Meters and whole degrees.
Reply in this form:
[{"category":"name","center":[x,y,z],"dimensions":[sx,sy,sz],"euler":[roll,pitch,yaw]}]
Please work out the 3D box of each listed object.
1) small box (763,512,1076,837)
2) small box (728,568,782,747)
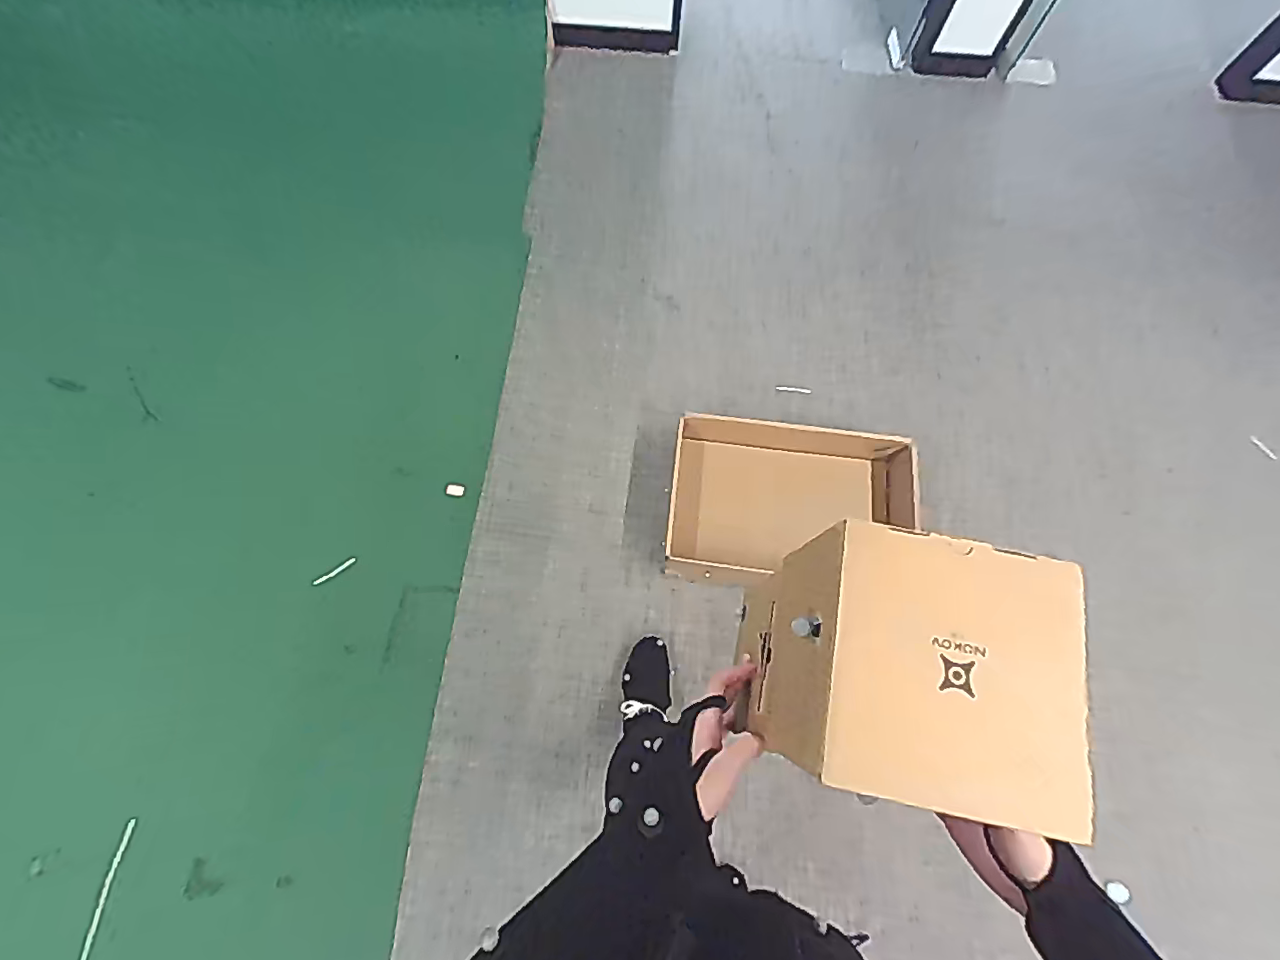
[{"category":"small box","center":[0.202,0.145,0.433],"dimensions":[0.168,0.176,0.179],"euler":[12,71,4]},{"category":"small box","center":[0.200,0.206,0.584],"dimensions":[0.179,0.176,0.168],"euler":[12,72,3]}]
